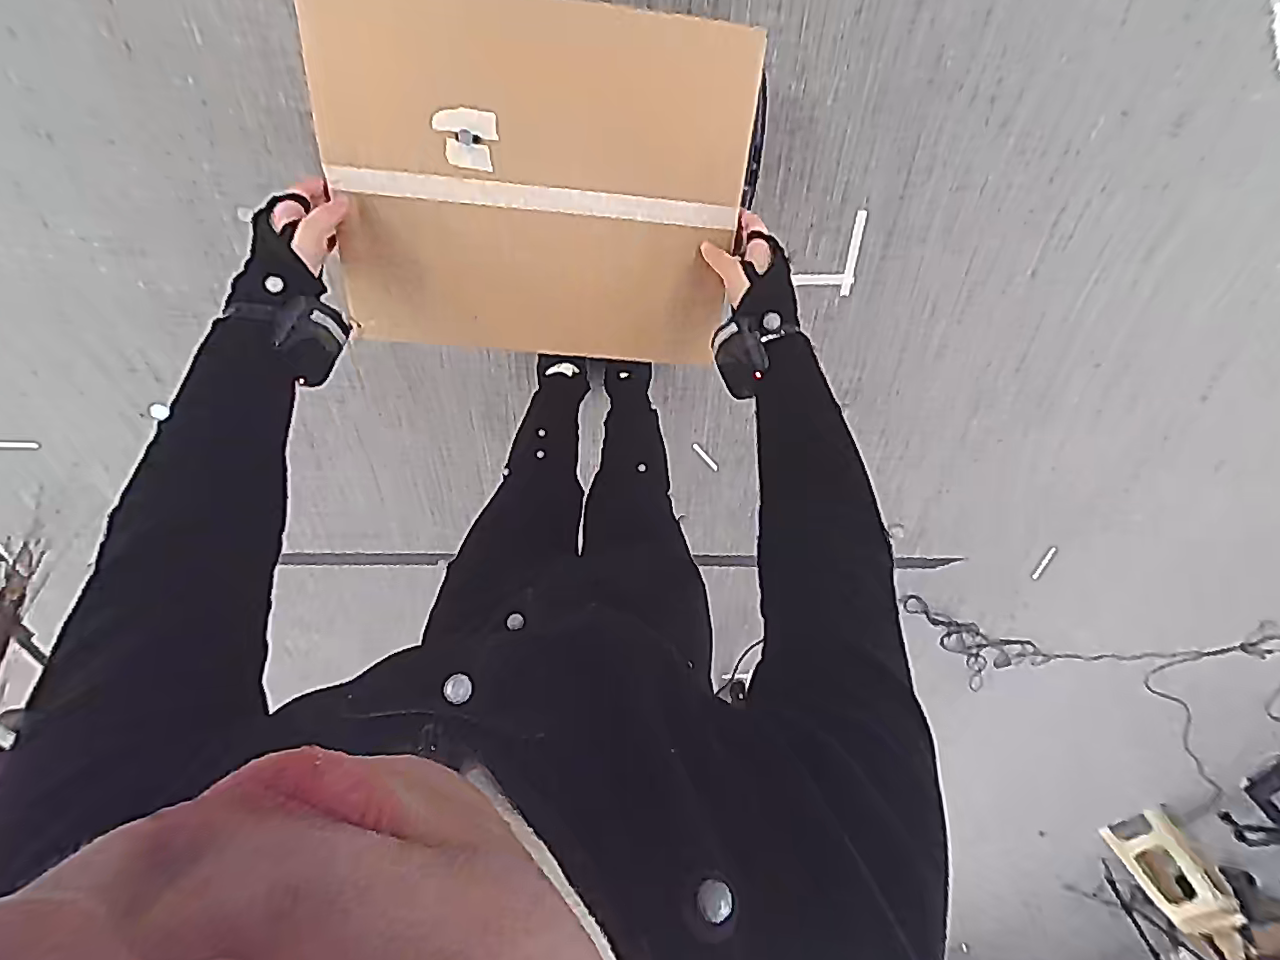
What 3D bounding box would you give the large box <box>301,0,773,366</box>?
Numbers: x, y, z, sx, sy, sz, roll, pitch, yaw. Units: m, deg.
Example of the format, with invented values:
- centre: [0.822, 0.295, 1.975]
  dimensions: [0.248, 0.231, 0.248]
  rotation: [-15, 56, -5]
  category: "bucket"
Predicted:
- centre: [-0.097, -0.346, 0.652]
  dimensions: [0.408, 0.320, 0.320]
  rotation: [4, 119, -5]
  category: "large box"
